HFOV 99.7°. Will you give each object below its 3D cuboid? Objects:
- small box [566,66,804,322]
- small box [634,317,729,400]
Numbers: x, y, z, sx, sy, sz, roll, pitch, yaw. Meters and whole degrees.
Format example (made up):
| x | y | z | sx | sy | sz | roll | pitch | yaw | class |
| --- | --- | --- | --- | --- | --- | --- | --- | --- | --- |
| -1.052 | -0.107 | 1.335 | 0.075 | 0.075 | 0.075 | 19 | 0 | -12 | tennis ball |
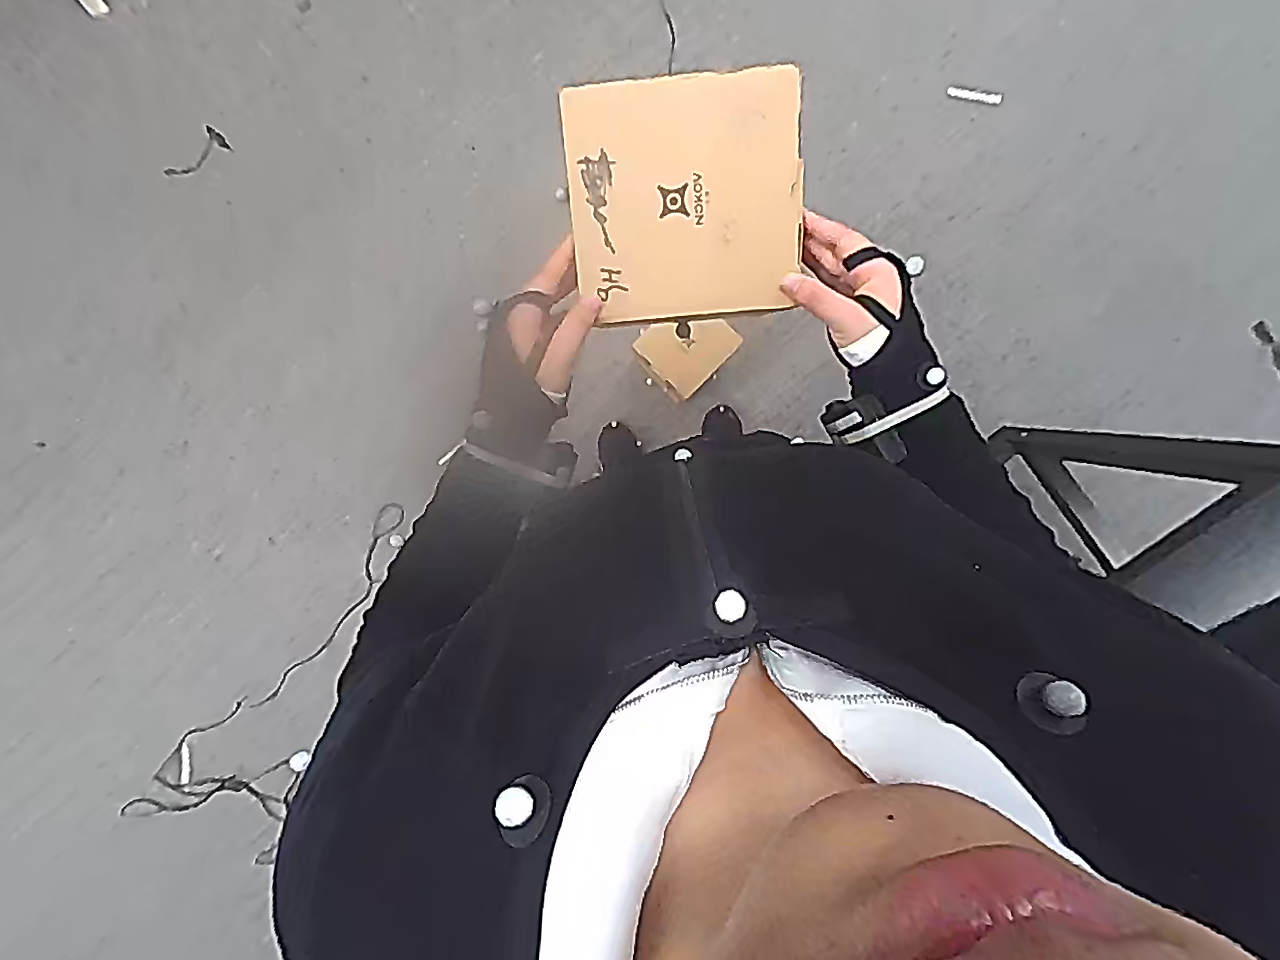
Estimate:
| x | y | z | sx | sy | sz | roll | pitch | yaw | class |
| --- | --- | --- | --- | --- | --- | --- | --- | --- | --- |
| 0.037 | -0.236 | 0.489 | 0.179 | 0.176 | 0.168 | -5 | 104 | 2 | small box |
| 0.100 | -0.323 | 1.377 | 0.179 | 0.176 | 0.168 | -43 | 95 | 7 | small box |
